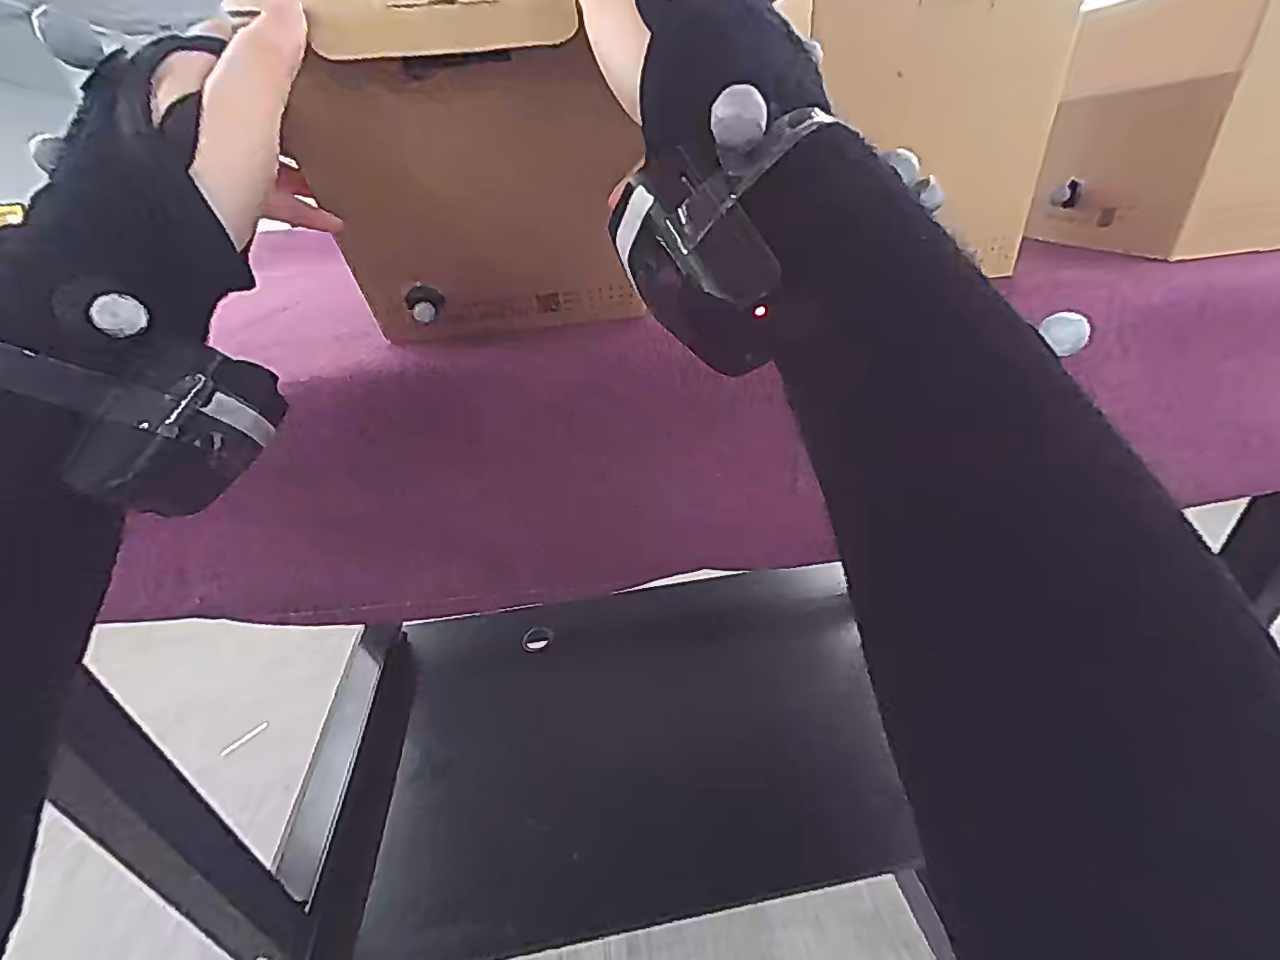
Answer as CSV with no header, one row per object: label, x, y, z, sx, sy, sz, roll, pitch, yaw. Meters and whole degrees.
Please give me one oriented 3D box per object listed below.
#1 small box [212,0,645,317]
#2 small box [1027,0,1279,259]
small box,-0.089,-0.211,0.312,0.168,0.176,0.179,-8,57,-6
small box,0.440,-0.272,0.403,0.179,0.176,0.168,-8,30,-3
